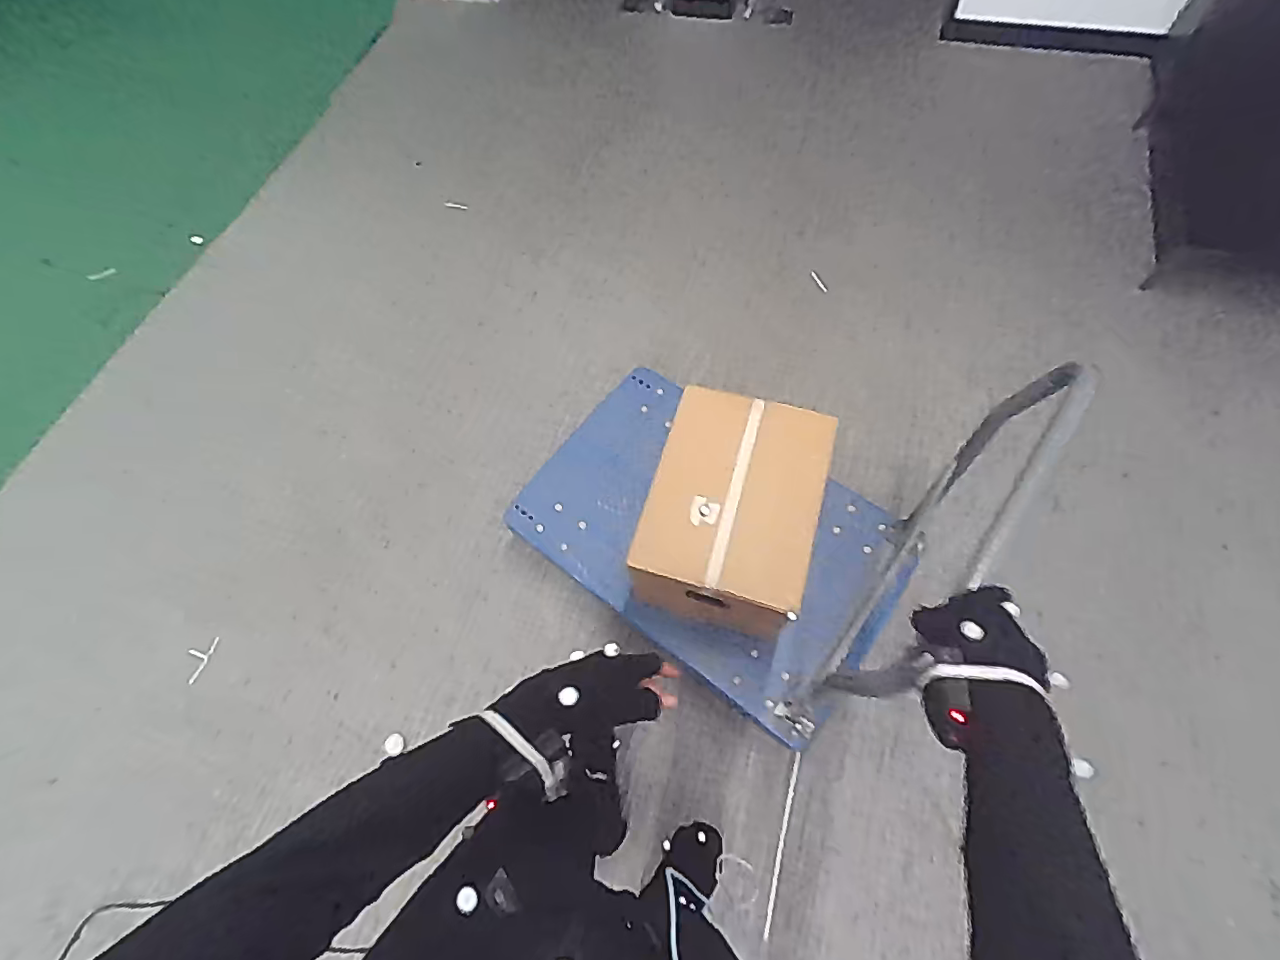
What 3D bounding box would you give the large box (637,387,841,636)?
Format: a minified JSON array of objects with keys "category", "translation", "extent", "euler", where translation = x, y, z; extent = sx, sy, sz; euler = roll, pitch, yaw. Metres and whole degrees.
[{"category":"large box","translation":[0.203,0.076,1.154],"extent":[0.320,0.320,0.408],"euler":[15,68,11]}]
